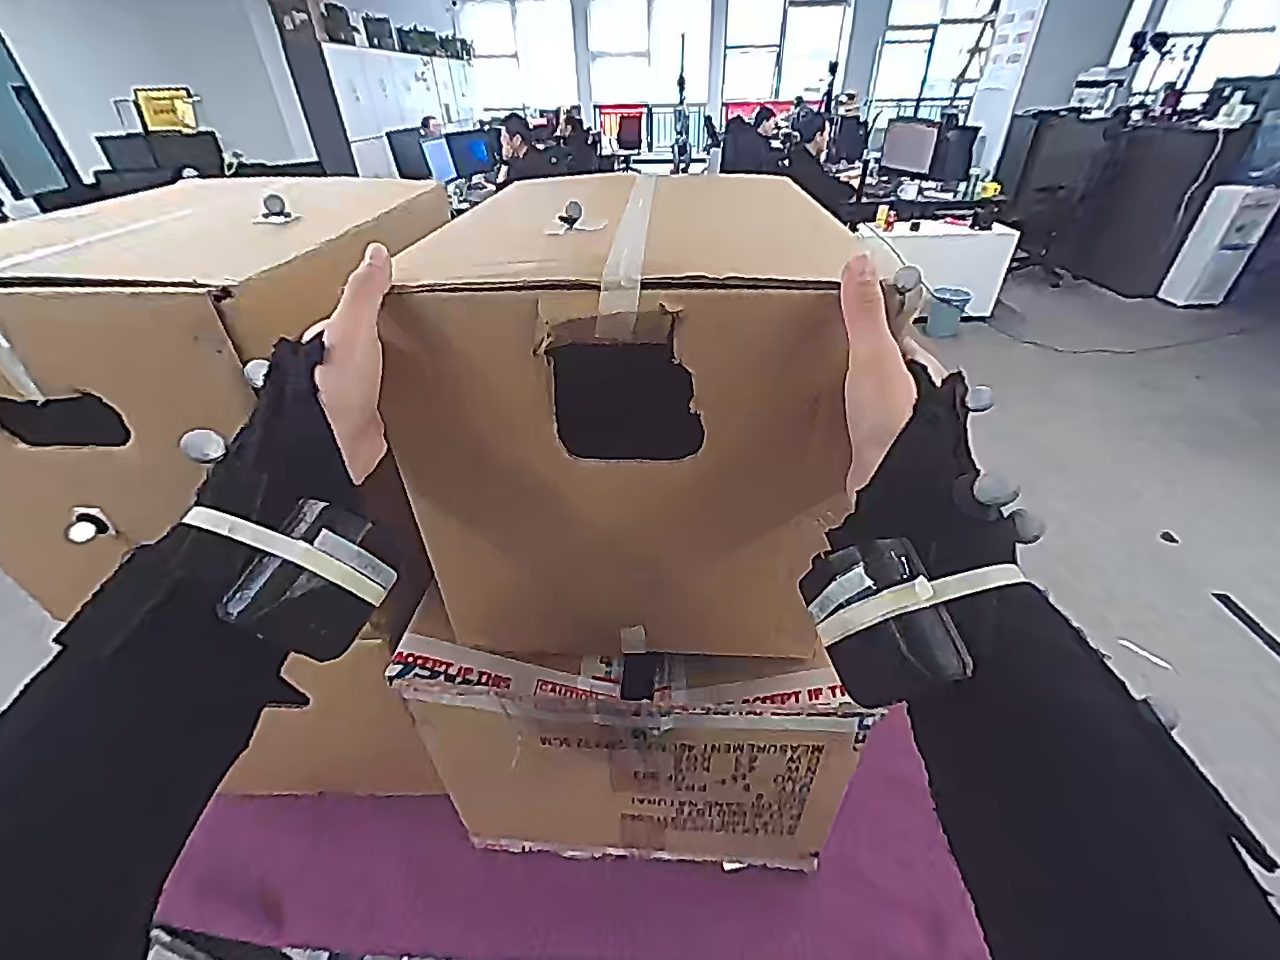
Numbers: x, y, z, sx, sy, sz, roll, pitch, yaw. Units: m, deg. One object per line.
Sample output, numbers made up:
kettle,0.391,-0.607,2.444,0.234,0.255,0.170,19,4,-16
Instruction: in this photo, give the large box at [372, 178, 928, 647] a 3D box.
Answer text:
large box,0.009,-0.095,0.537,0.320,0.320,0.408,0,36,3
